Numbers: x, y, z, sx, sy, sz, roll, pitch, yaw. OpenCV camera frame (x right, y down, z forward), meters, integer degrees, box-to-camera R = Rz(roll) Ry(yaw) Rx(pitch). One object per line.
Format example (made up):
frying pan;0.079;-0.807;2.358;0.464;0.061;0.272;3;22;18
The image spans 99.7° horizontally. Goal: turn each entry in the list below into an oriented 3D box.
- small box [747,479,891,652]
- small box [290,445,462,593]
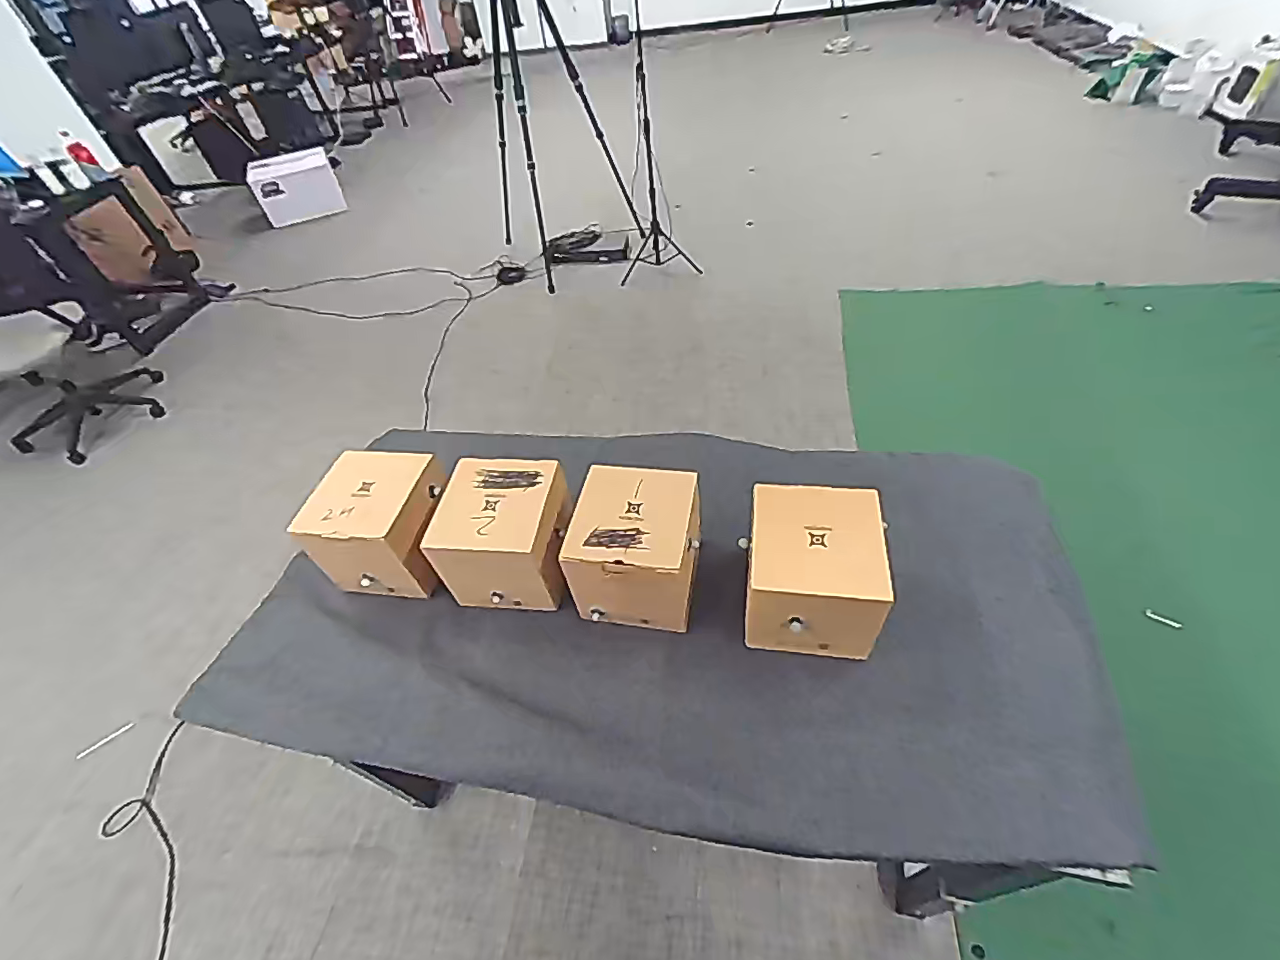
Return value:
small box;0.237;0.120;0.753;0.168;0.176;0.179;3;49;11
small box;-0.418;0.063;0.897;0.168;0.176;0.179;3;49;11
